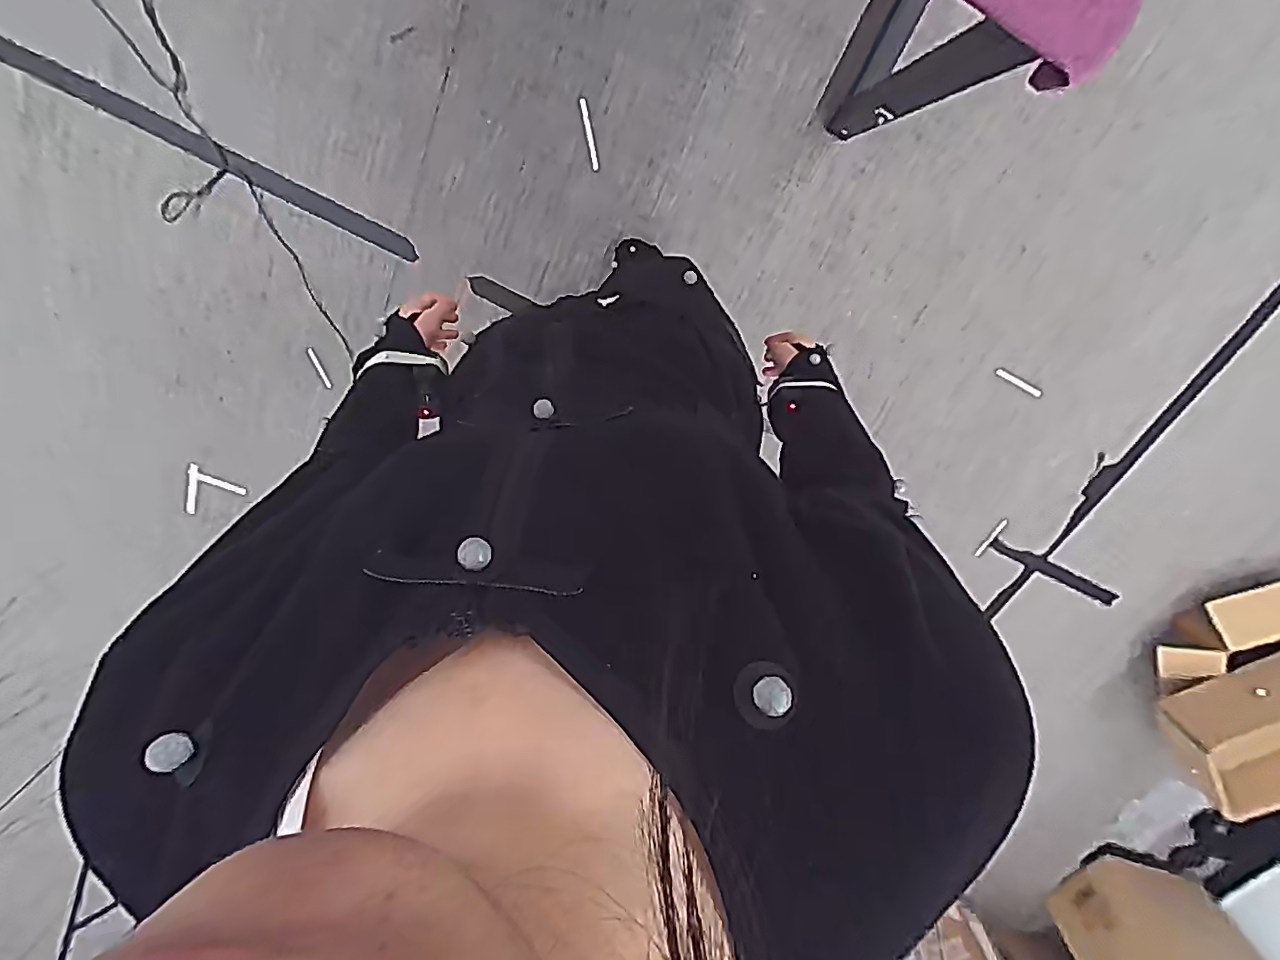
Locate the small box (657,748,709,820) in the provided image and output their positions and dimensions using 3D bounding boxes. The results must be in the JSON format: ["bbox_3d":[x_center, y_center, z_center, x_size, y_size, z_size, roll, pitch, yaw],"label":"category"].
[{"bbox_3d":[0.158,1.132,2.028,0.168,0.176,0.179,-10,116,5],"label":"small box"}]
